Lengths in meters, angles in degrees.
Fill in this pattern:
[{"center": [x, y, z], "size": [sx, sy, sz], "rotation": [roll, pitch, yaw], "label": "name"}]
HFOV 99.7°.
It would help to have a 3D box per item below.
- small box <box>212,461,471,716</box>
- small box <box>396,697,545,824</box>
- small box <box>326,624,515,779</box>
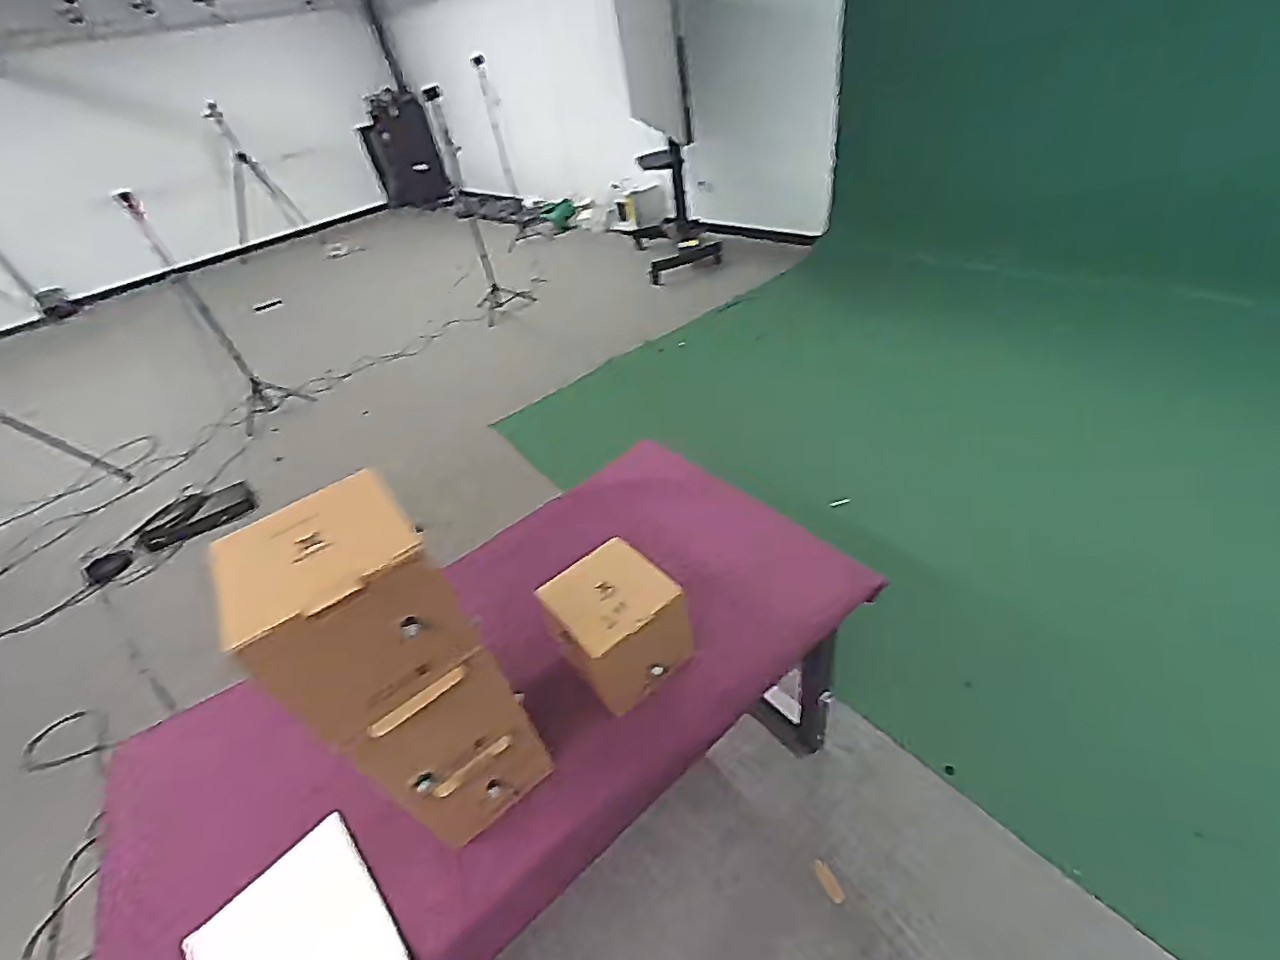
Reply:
[{"center": [-0.304, 0.116, 0.569], "size": [0.168, 0.176, 0.179], "rotation": [-31, 43, -23], "label": "small box"}, {"center": [-0.260, 0.359, 0.784], "size": [0.168, 0.176, 0.179], "rotation": [-32, 44, -24], "label": "small box"}, {"center": [-0.282, 0.237, 0.675], "size": [0.168, 0.176, 0.179], "rotation": [-32, 43, -23], "label": "small box"}]
